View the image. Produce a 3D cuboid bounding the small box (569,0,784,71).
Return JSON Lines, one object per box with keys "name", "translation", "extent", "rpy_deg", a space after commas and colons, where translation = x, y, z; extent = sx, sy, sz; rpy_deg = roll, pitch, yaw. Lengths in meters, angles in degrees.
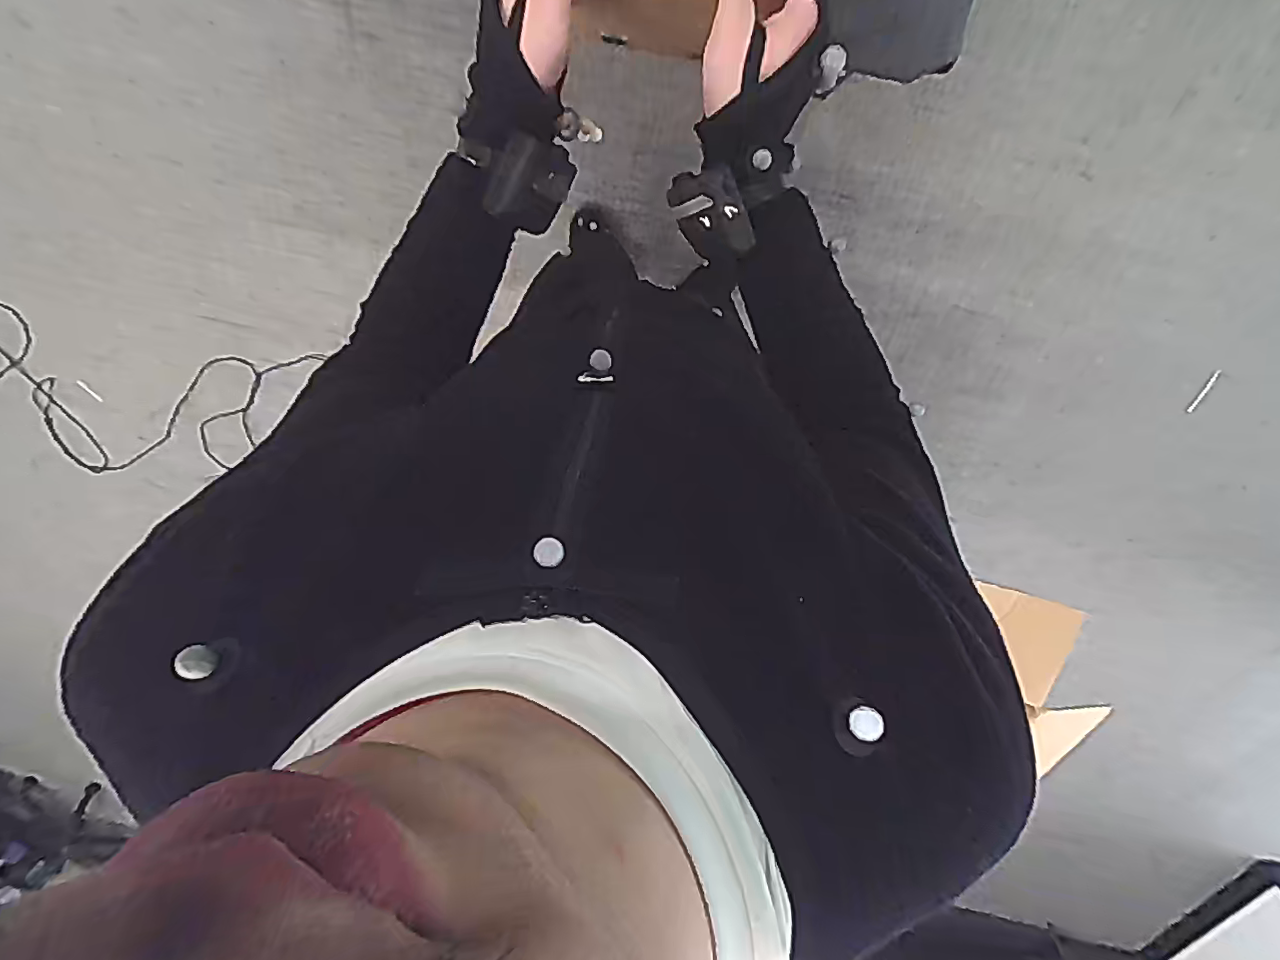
{"name": "small box", "translation": [0.036, -0.431, 0.390], "extent": [0.168, 0.176, 0.179], "rpy_deg": [9, 111, -1]}
